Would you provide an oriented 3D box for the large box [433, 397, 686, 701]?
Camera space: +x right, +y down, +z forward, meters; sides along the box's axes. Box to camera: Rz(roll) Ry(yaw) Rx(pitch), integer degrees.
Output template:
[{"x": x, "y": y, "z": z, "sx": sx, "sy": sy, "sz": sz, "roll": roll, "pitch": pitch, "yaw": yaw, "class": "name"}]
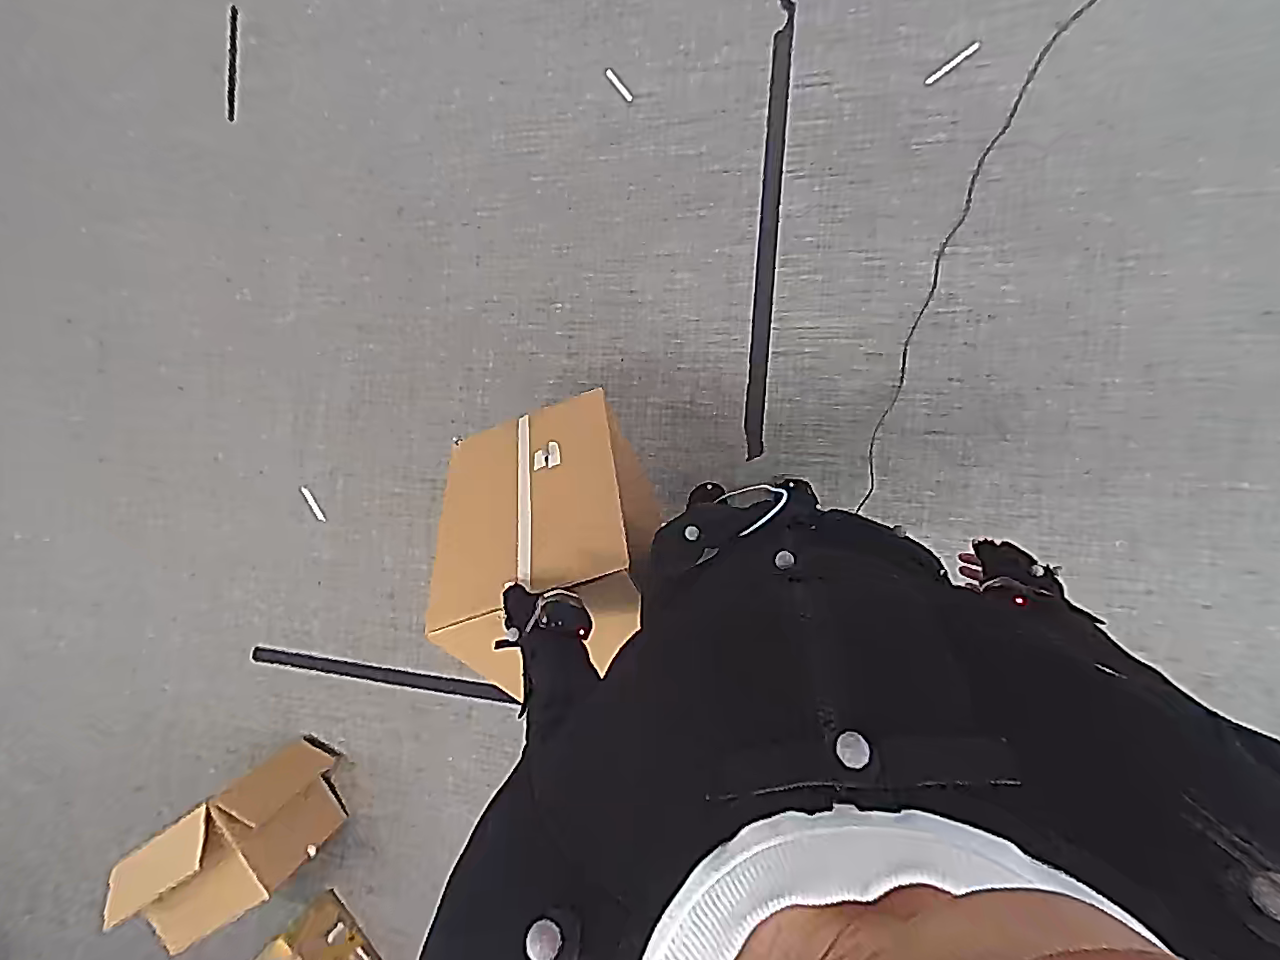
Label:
[{"x": -0.135, "y": 0.125, "z": 0.997, "sx": 0.320, "sy": 0.320, "sz": 0.408, "roll": -18, "pitch": 45, "yaw": 8, "class": "large box"}]
